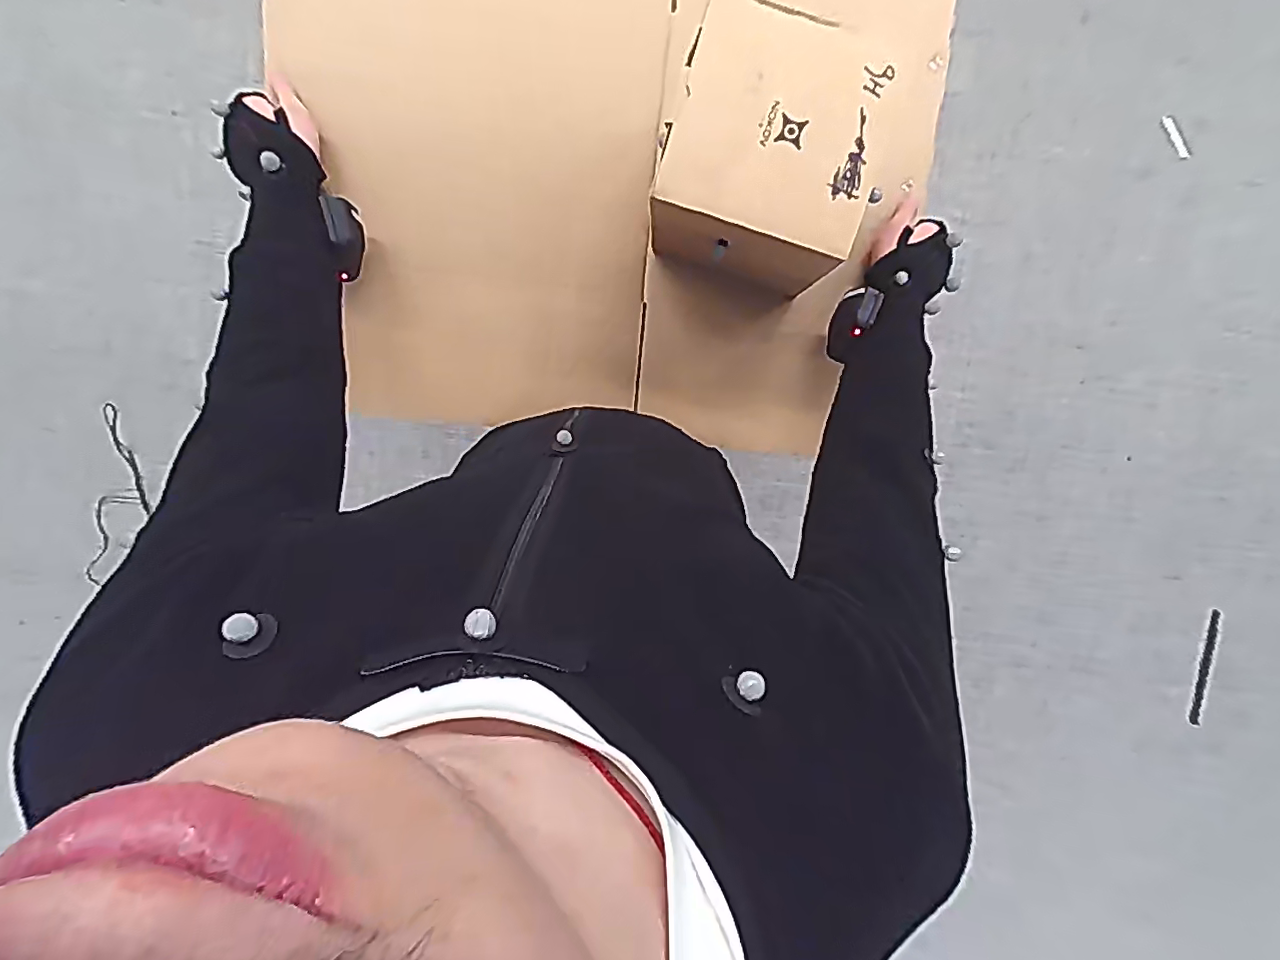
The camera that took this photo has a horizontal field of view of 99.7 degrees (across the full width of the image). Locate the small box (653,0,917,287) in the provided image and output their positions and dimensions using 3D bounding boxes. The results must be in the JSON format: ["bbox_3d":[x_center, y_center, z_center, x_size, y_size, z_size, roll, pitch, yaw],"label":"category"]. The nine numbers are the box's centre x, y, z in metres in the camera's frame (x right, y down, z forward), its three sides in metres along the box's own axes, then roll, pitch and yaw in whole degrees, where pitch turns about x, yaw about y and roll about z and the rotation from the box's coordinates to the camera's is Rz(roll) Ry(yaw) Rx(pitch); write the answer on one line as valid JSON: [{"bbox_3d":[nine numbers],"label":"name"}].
[{"bbox_3d":[0.121,-0.303,0.524,0.179,0.176,0.168,18,99,0],"label":"small box"}]
